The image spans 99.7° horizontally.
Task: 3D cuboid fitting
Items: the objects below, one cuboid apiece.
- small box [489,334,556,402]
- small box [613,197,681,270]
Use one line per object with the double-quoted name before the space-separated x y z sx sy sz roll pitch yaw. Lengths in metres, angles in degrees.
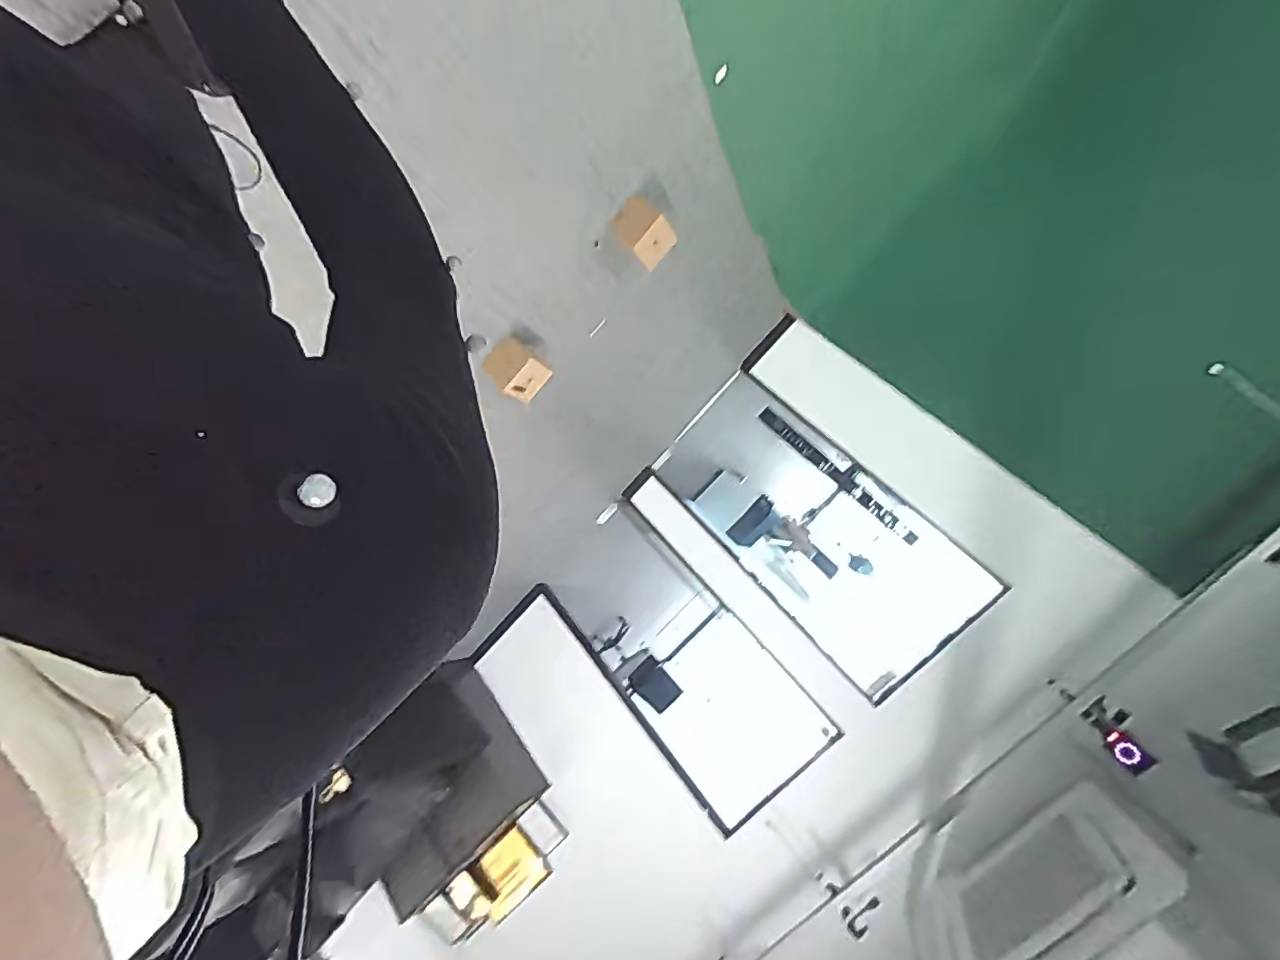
"small box" -0.477 -0.448 2.164 0.179 0.176 0.168 -47 156 9
"small box" 0.024 -0.959 2.088 0.168 0.176 0.179 -47 156 10
